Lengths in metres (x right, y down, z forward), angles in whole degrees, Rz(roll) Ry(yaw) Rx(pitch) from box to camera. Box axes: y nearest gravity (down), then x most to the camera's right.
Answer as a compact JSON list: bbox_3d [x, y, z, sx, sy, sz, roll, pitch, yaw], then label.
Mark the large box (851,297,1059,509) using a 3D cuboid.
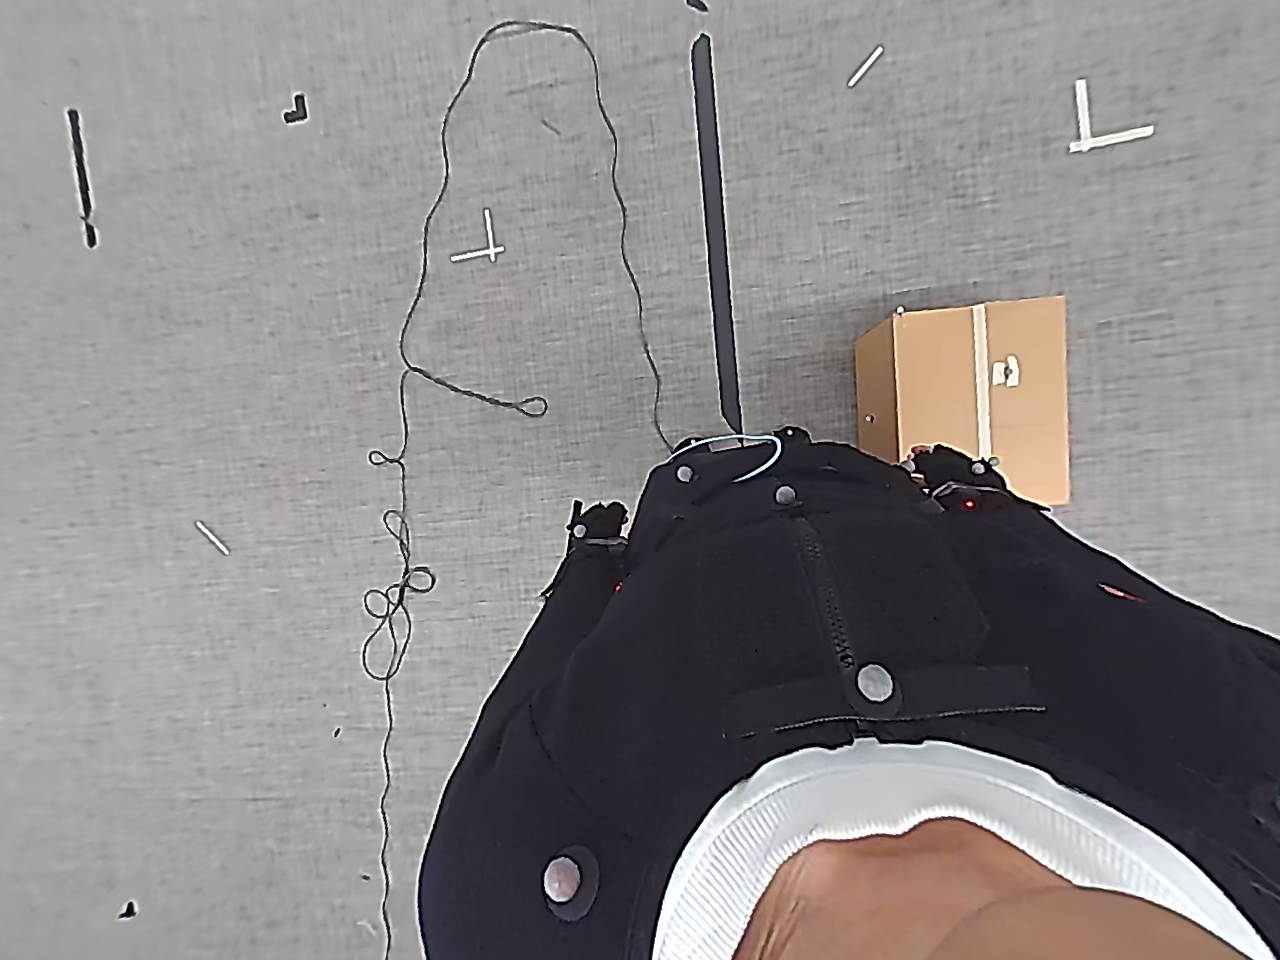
[{"bbox_3d":[0.686,-0.158,1.232,0.320,0.320,0.408,-4,93,7],"label":"large box"}]
